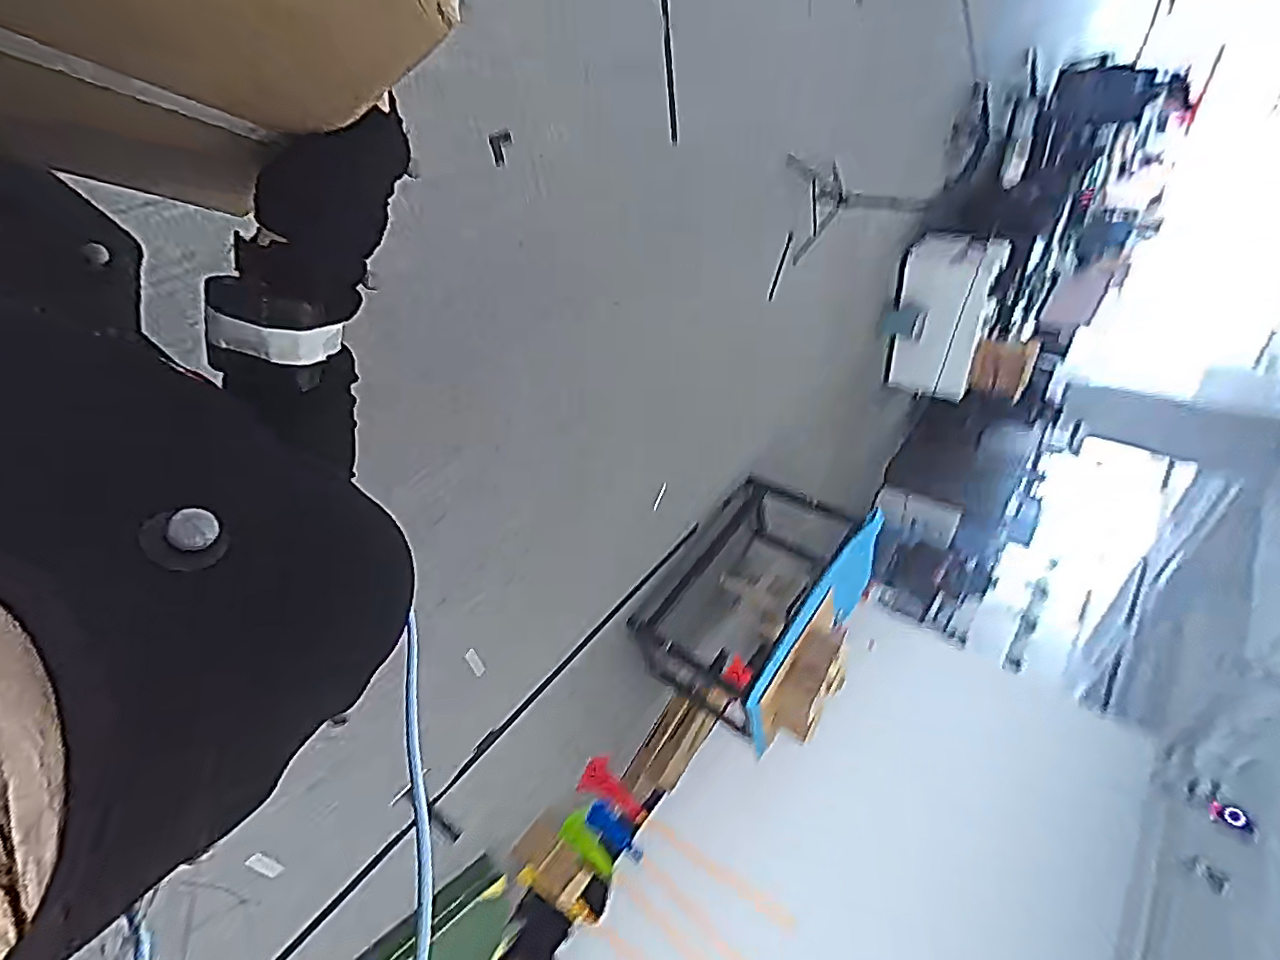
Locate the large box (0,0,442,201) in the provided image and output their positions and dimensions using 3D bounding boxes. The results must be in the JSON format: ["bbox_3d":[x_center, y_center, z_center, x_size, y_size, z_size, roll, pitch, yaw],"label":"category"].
[{"bbox_3d":[-0.319,-0.333,0.146,0.408,0.320,0.320,-8,101,-49],"label":"large box"}]
